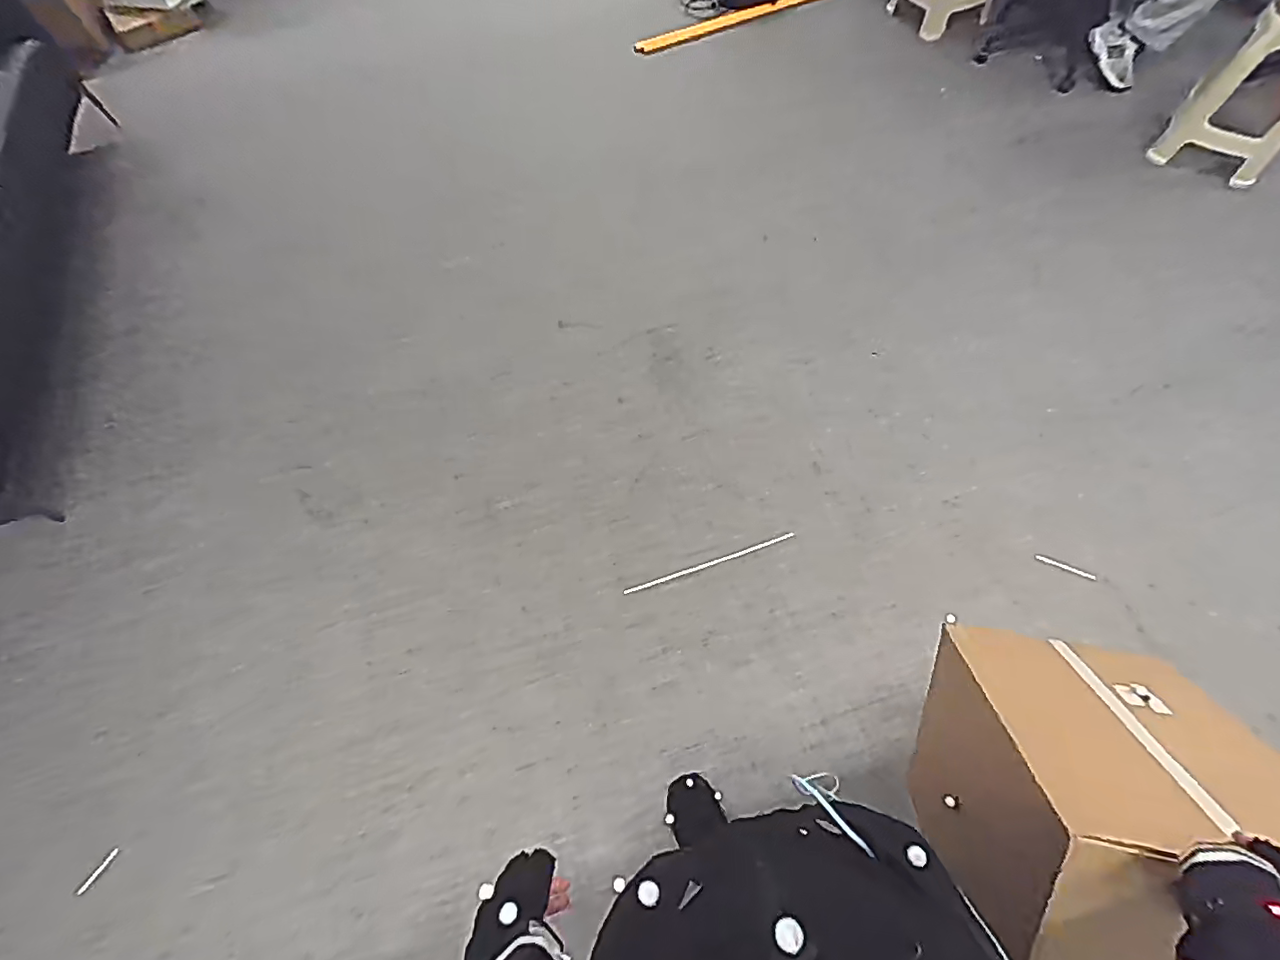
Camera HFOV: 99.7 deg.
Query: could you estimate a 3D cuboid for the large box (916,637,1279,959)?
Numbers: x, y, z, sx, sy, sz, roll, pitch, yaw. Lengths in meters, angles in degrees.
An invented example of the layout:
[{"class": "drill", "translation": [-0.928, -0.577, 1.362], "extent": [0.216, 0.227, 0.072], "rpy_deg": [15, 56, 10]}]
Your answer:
[{"class": "large box", "translation": [0.592, 0.462, 0.693], "extent": [0.320, 0.408, 0.320], "rpy_deg": [8, 105, 12]}]
